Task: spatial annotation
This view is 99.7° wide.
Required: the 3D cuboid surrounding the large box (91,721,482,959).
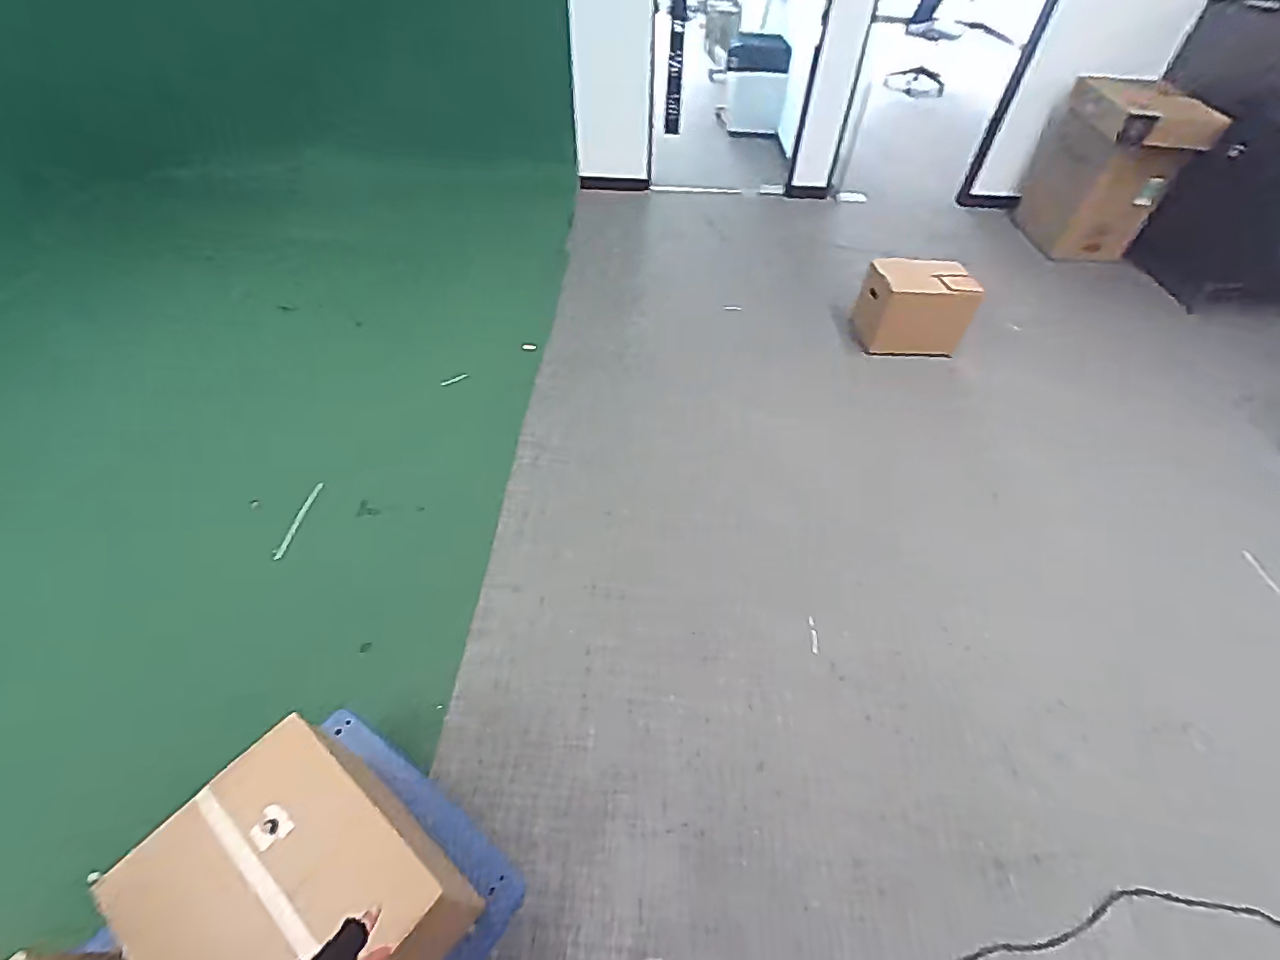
[{"bbox_3d":[-0.534,0.687,0.884,0.408,0.320,0.320,31,56,24],"label":"large box"}]
